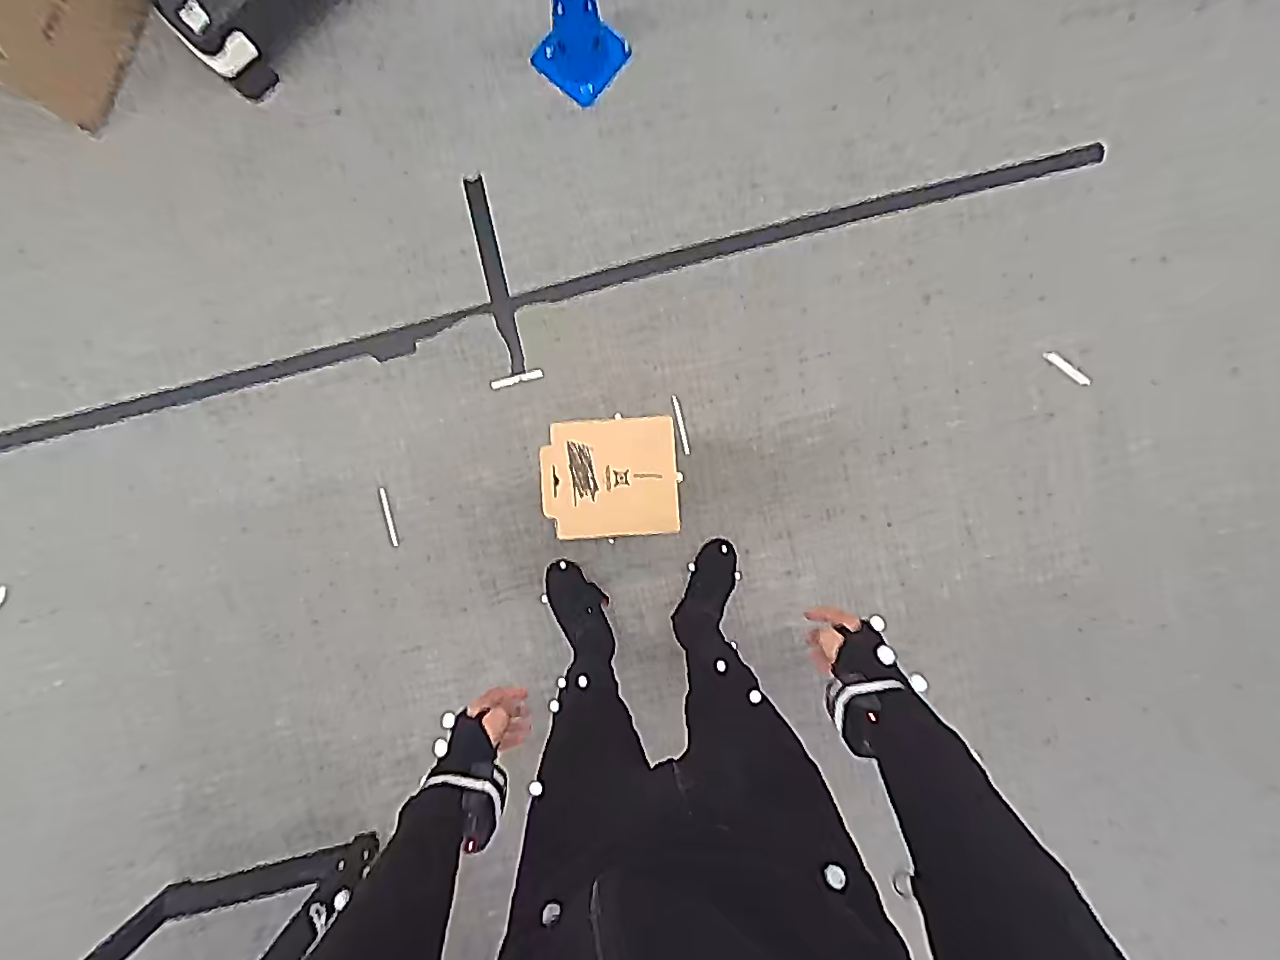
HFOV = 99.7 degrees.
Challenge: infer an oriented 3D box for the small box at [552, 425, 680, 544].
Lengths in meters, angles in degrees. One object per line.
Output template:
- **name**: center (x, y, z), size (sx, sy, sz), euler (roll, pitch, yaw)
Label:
- **small box**: center (-0.034, 0.007, 0.840), size (0.179, 0.176, 0.168), euler (-3, 90, -1)
